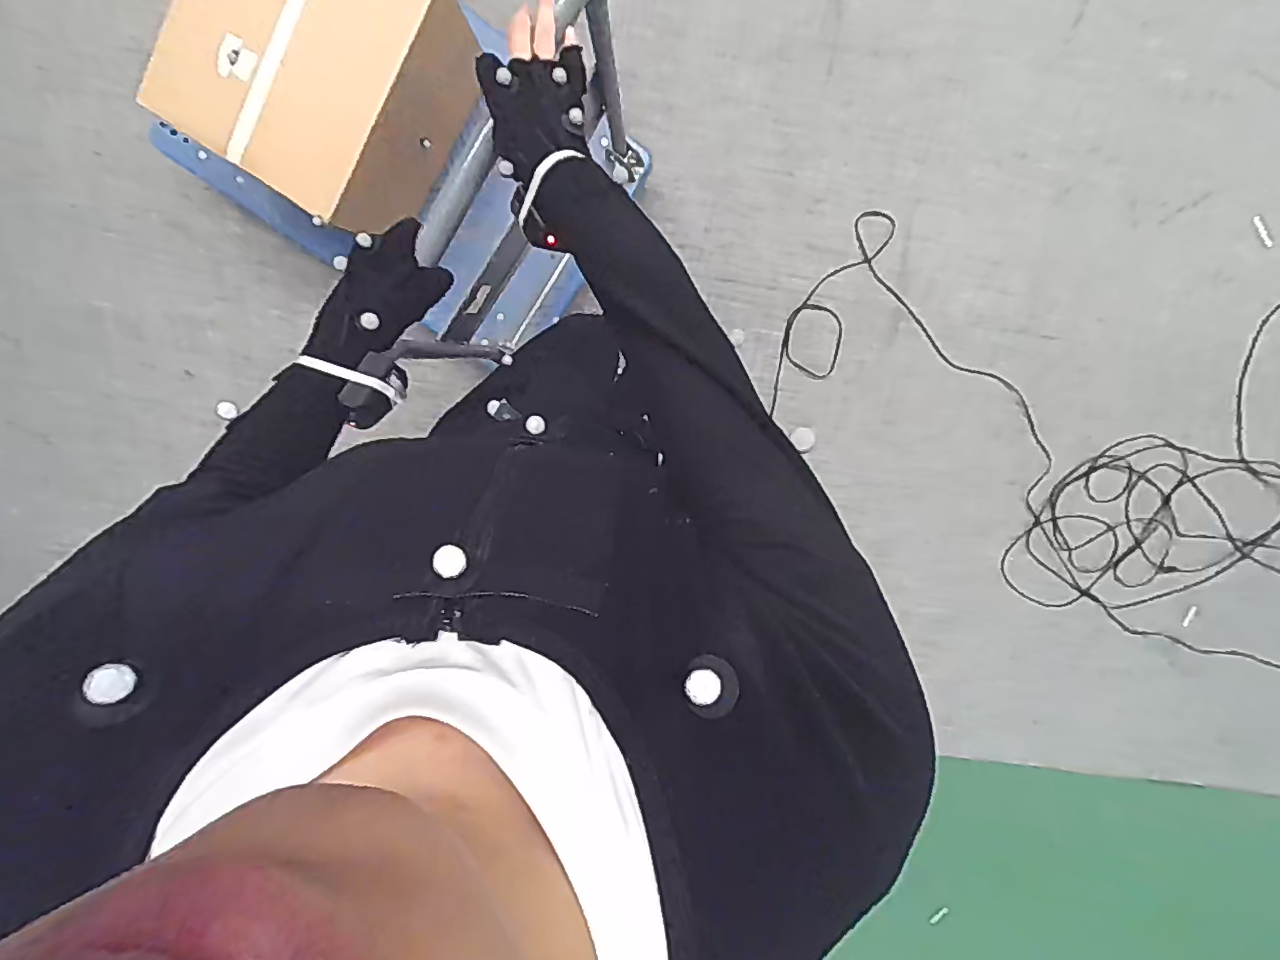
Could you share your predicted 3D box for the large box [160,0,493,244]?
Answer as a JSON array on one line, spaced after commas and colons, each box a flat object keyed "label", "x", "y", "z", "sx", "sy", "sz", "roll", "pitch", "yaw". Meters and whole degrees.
[{"label": "large box", "x": -0.513, "y": -0.699, "z": 0.955, "sx": 0.320, "sy": 0.320, "sz": 0.408, "roll": 32, "pitch": 103, "yaw": -10}]
